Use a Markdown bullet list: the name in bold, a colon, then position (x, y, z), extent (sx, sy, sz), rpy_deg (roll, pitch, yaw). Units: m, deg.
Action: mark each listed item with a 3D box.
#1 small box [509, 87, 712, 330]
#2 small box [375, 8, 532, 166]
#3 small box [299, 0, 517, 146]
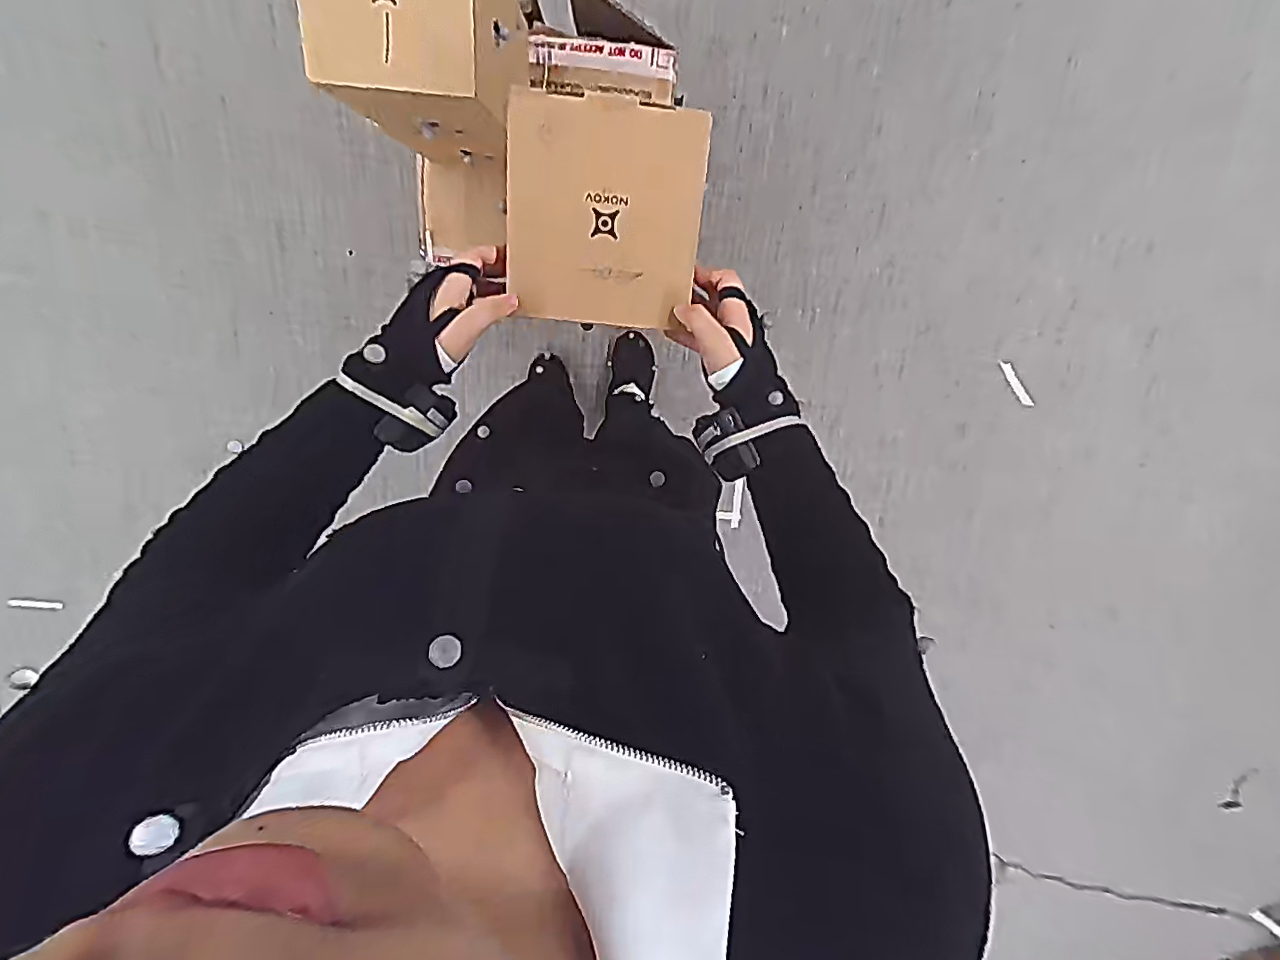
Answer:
- **small box**: position (-0.034, -0.250, 0.533), extent (0.168, 0.176, 0.179), rpy_deg (3, 111, -4)
- **small box**: position (-0.243, -0.538, 0.721), extent (0.168, 0.176, 0.179), rpy_deg (2, 110, 0)
- **small box**: position (-0.230, -0.478, 0.568), extent (0.168, 0.176, 0.179), rpy_deg (5, 110, -1)
